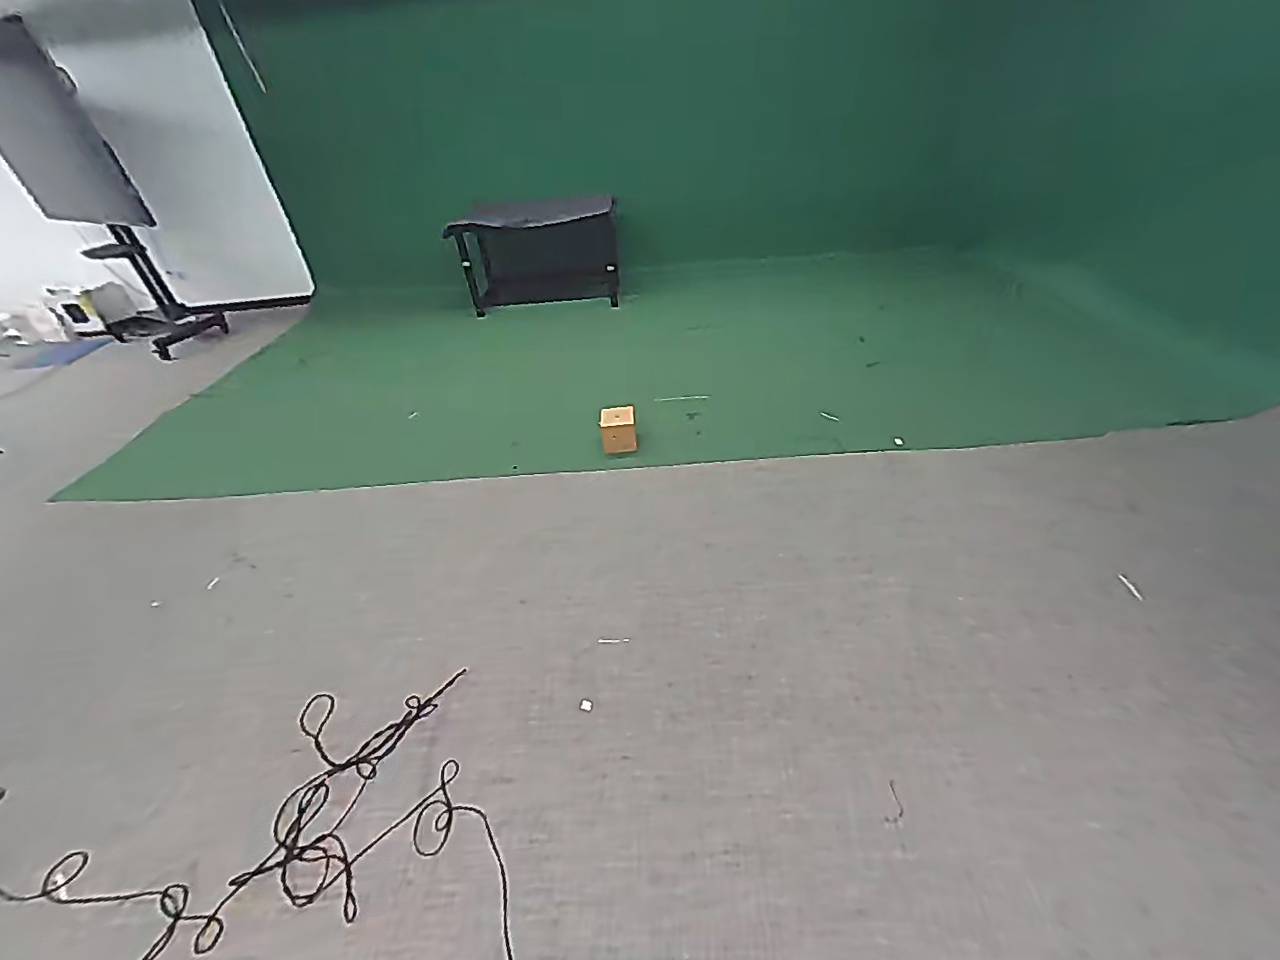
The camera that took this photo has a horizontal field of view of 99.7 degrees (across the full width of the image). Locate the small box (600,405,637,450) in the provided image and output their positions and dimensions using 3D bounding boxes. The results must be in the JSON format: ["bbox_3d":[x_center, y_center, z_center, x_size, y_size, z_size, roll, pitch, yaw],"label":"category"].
[{"bbox_3d":[-0.108,-0.261,2.752,0.168,0.176,0.179,-6,37,2],"label":"small box"}]
